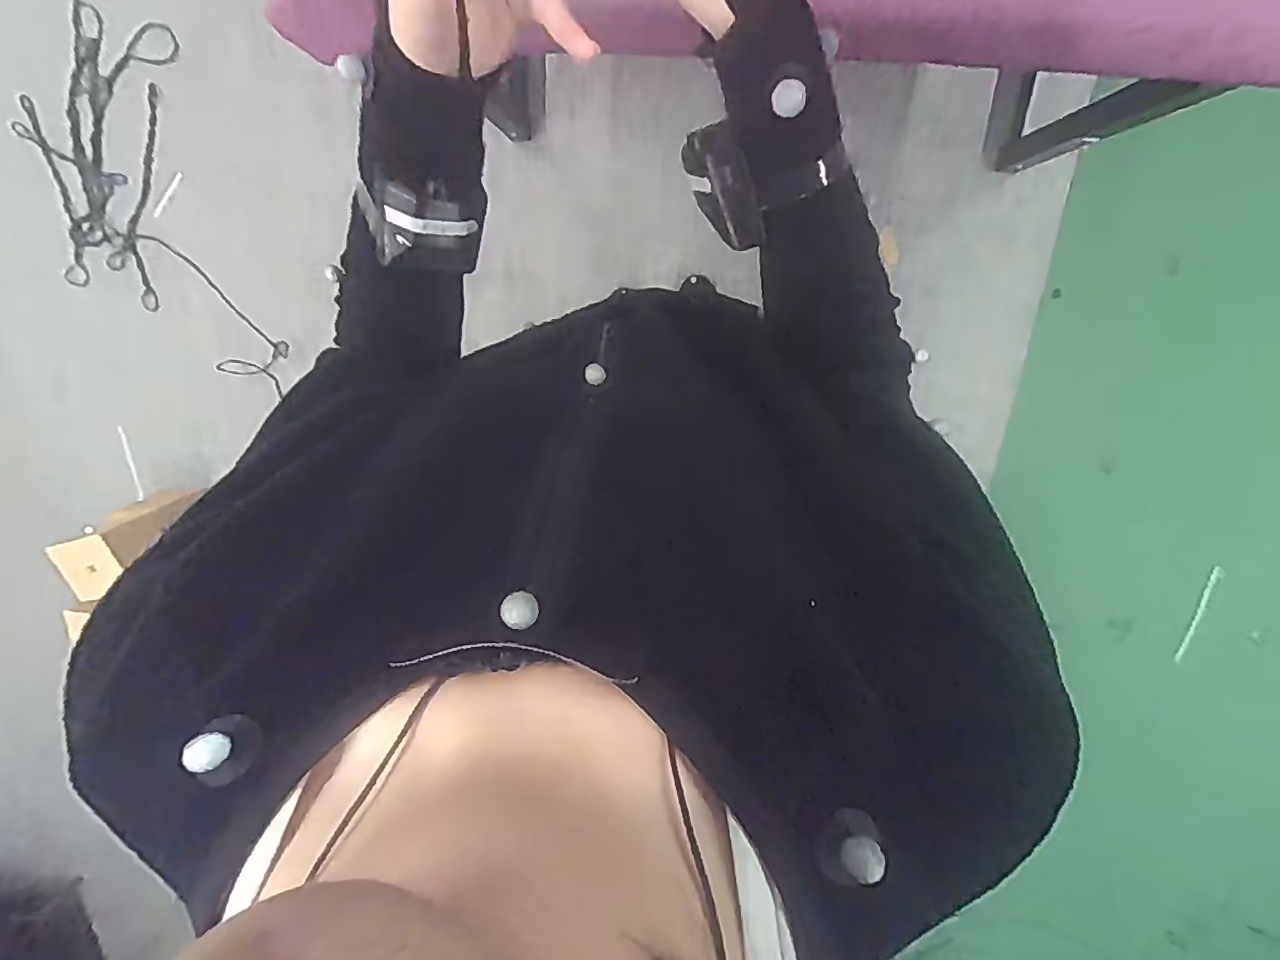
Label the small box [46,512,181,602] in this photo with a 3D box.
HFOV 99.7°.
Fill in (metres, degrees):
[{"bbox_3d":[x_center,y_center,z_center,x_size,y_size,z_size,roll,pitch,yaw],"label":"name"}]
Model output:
[{"bbox_3d":[-1.395,0.201,1.453,0.179,0.176,0.168,-13,108,9],"label":"small box"}]
